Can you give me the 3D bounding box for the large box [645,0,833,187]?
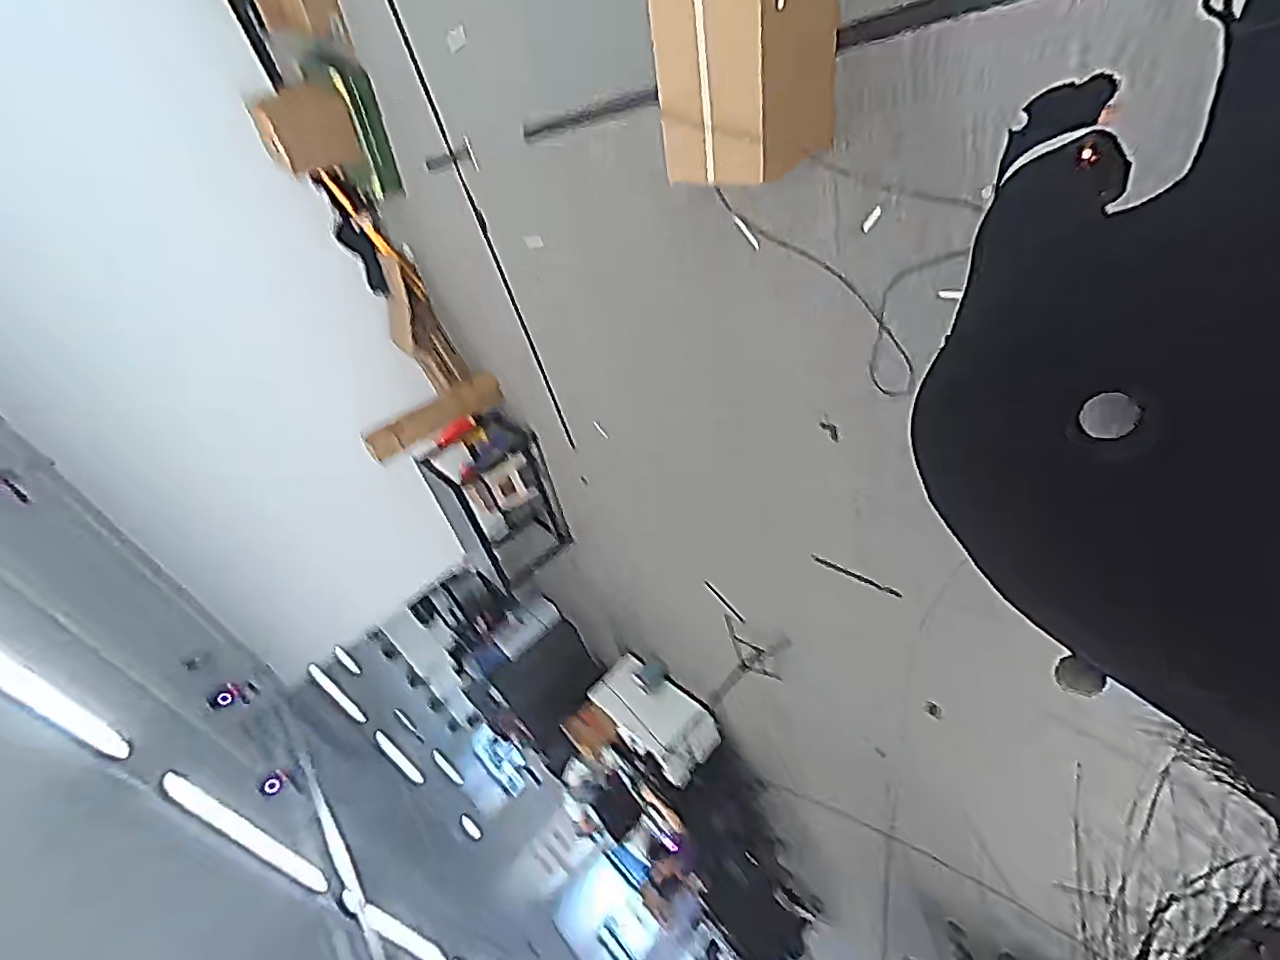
[{"bbox_3d":[0.253,-0.984,1.323,0.320,0.320,0.408,27,144,37],"label":"large box"}]
